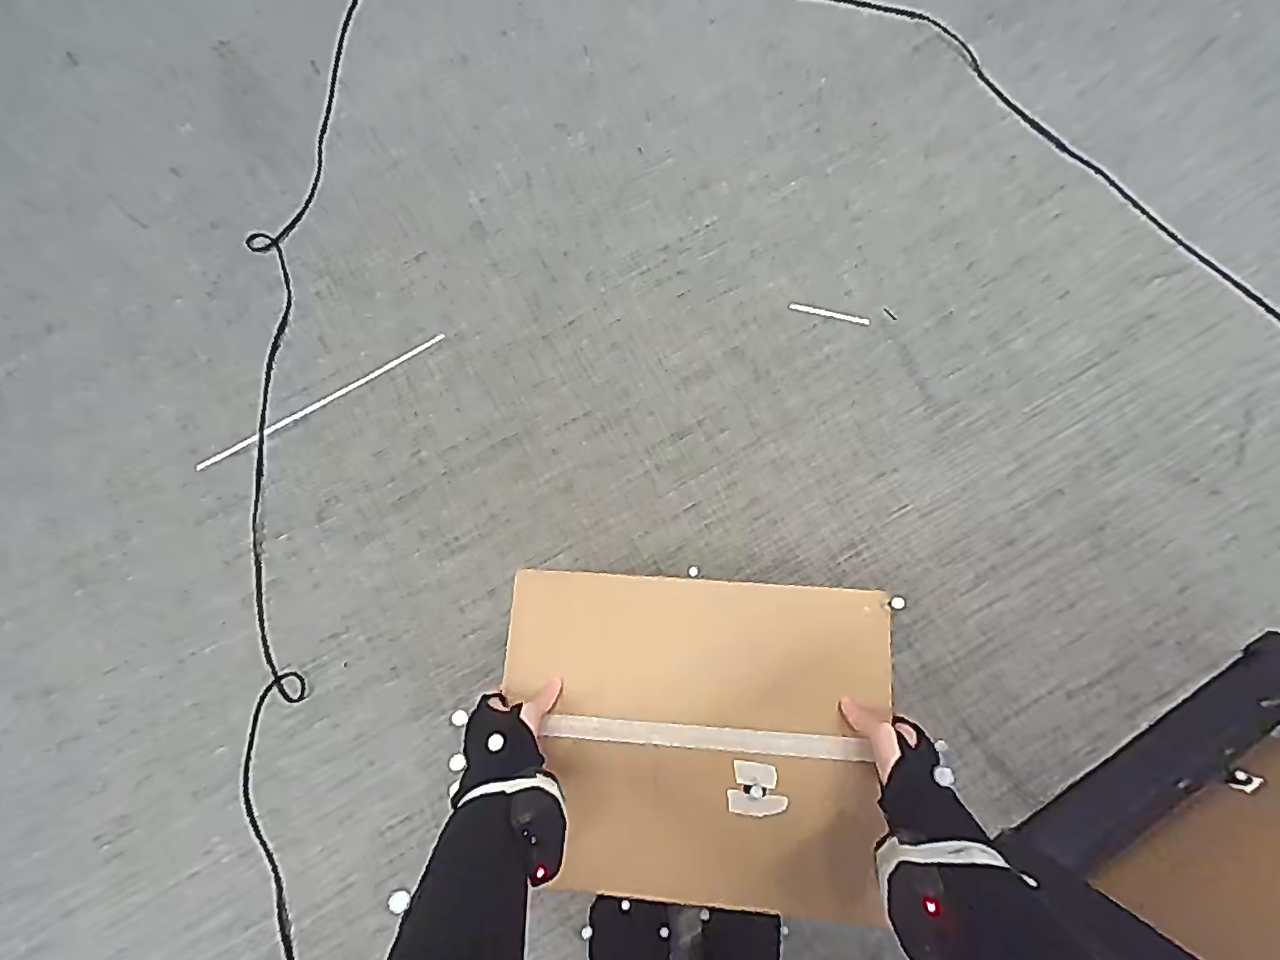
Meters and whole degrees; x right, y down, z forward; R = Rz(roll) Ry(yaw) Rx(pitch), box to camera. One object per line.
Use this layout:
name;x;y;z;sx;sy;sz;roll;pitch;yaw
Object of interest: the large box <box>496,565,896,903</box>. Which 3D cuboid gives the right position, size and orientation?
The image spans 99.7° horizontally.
large box;0.064;0.281;0.706;0.408;0.320;0.320;3;80;4
